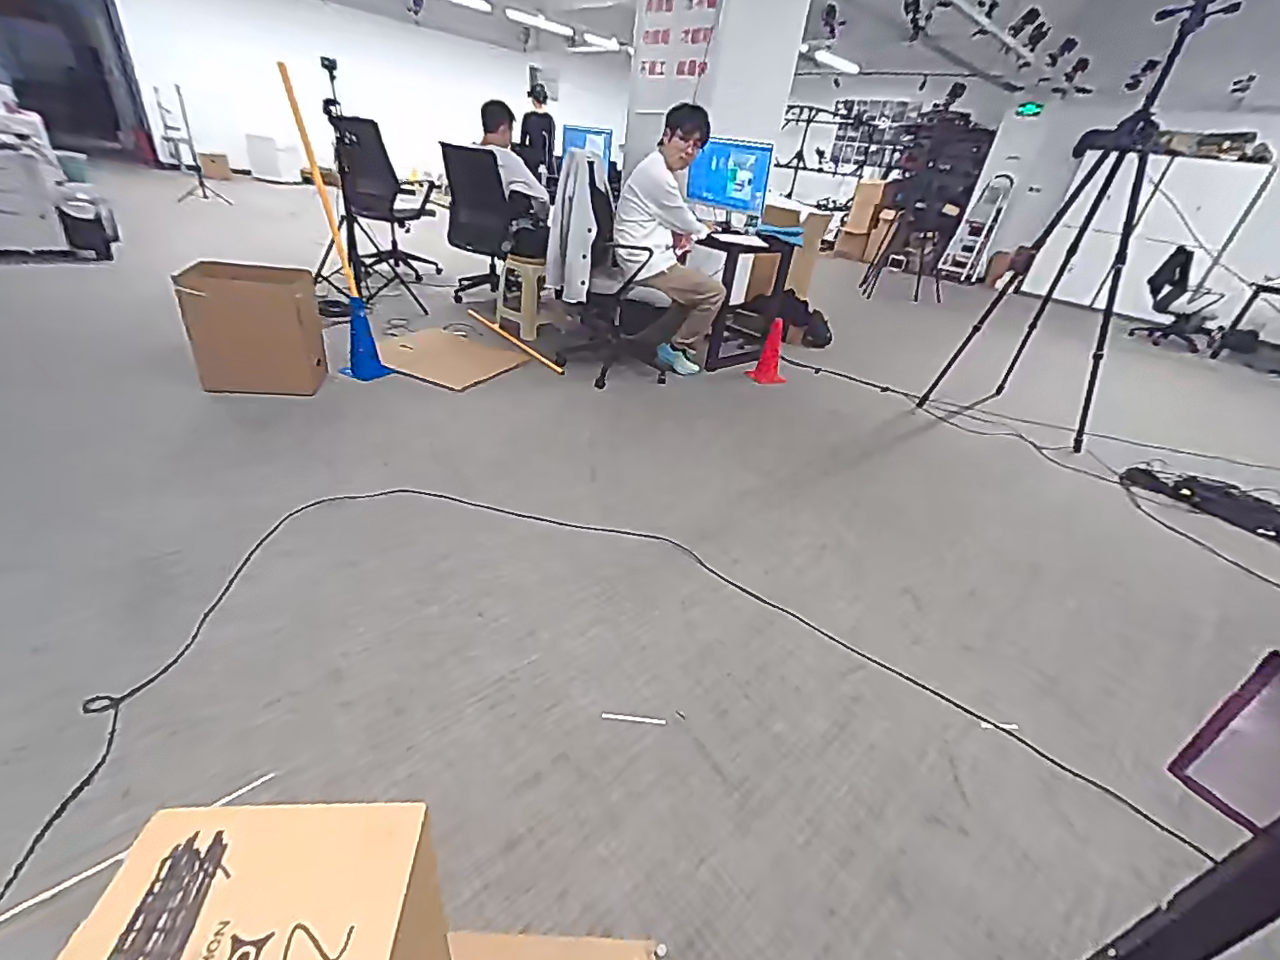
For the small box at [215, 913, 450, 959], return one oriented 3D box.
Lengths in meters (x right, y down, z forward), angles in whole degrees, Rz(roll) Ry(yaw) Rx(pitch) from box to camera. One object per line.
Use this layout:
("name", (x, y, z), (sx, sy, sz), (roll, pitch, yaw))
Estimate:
("small box", (-0.252, 0.477, 0.427), (0.179, 0.176, 0.168), (2, 30, -6))
